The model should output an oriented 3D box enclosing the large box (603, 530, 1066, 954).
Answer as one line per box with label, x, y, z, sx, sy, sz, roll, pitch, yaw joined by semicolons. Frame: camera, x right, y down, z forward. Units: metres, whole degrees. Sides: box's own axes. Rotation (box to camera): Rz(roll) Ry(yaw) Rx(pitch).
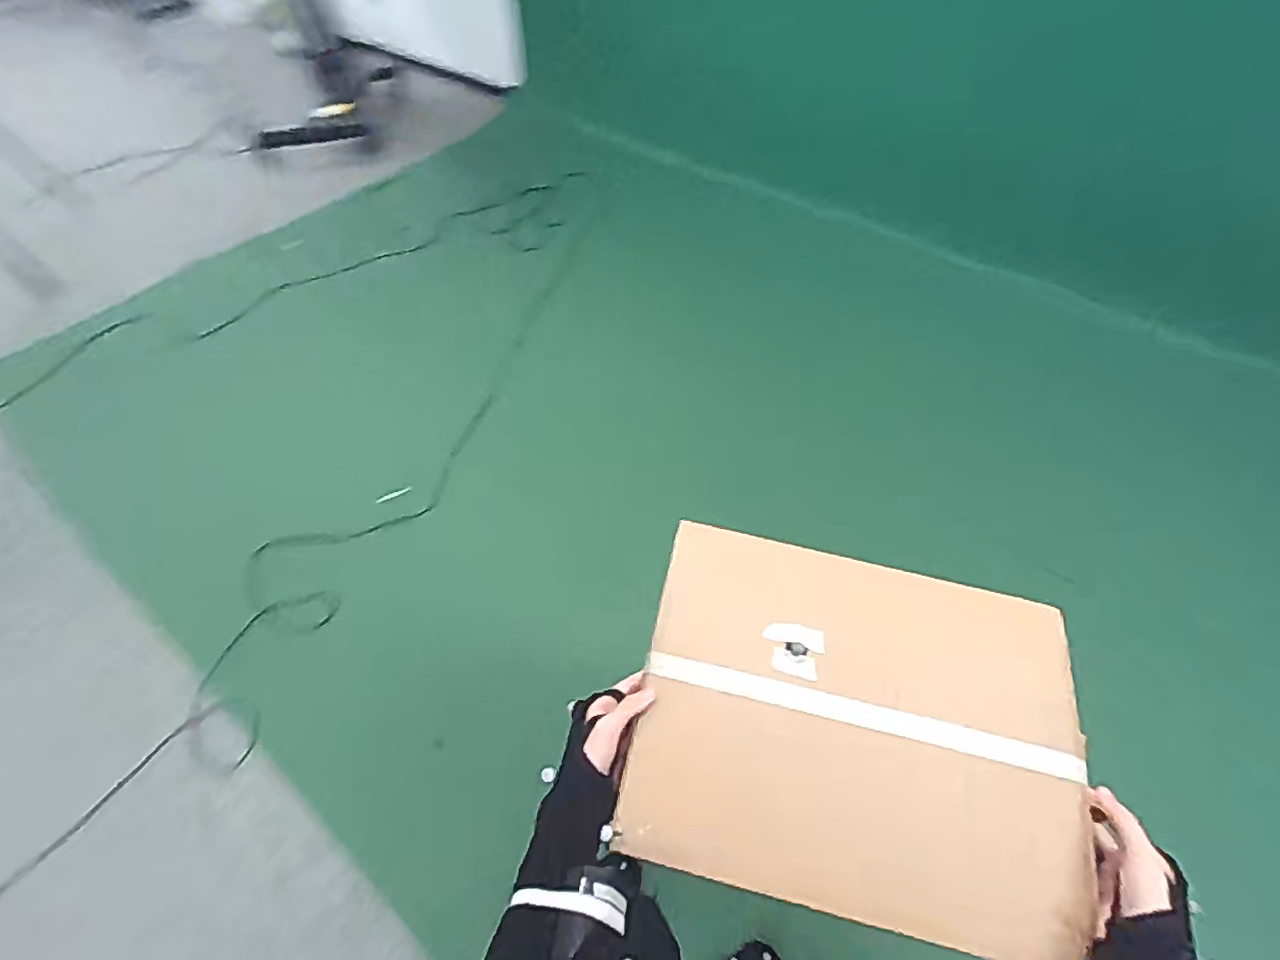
large box;0.191;0.289;0.660;0.408;0.320;0.320;12;63;5
